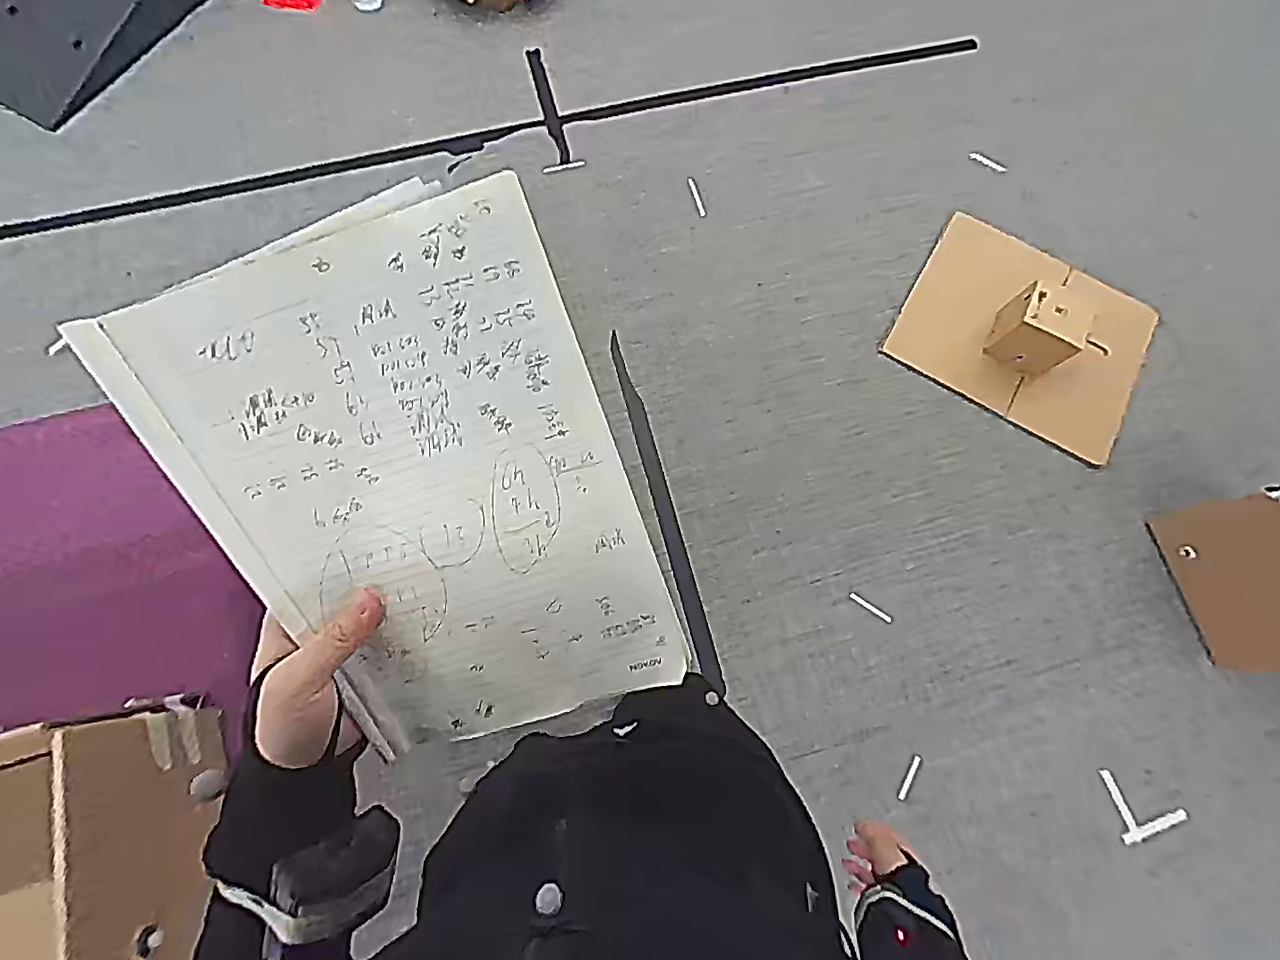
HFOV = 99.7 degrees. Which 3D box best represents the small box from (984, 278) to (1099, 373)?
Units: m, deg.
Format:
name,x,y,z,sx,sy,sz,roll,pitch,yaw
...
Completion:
name,x,y,z,sx,sy,sz,roll,pitch,yaw
small box,1.137,-0.431,1.541,0.179,0.176,0.168,29,75,4
